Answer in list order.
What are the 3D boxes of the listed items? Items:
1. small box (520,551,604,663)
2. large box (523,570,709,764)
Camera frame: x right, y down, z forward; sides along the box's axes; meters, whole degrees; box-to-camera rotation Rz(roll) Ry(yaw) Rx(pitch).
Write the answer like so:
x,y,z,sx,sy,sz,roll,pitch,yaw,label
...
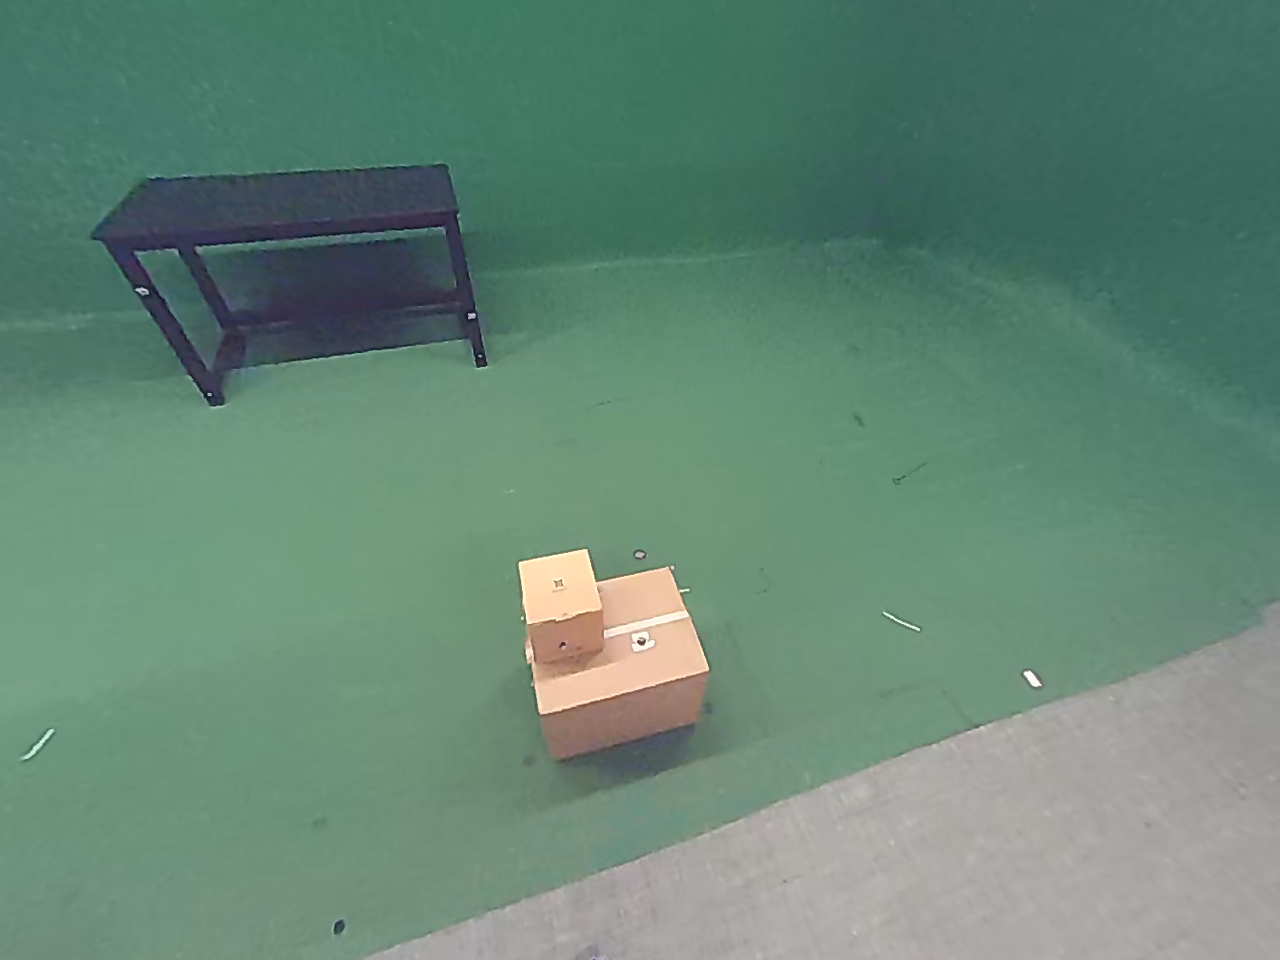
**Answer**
x,y,z,sx,sy,sz,roll,pitch,yaw,label
-0.183,0.296,1.263,0.168,0.176,0.179,-9,45,-13,small box
-0.074,0.486,1.421,0.408,0.320,0.320,-10,46,-13,large box
